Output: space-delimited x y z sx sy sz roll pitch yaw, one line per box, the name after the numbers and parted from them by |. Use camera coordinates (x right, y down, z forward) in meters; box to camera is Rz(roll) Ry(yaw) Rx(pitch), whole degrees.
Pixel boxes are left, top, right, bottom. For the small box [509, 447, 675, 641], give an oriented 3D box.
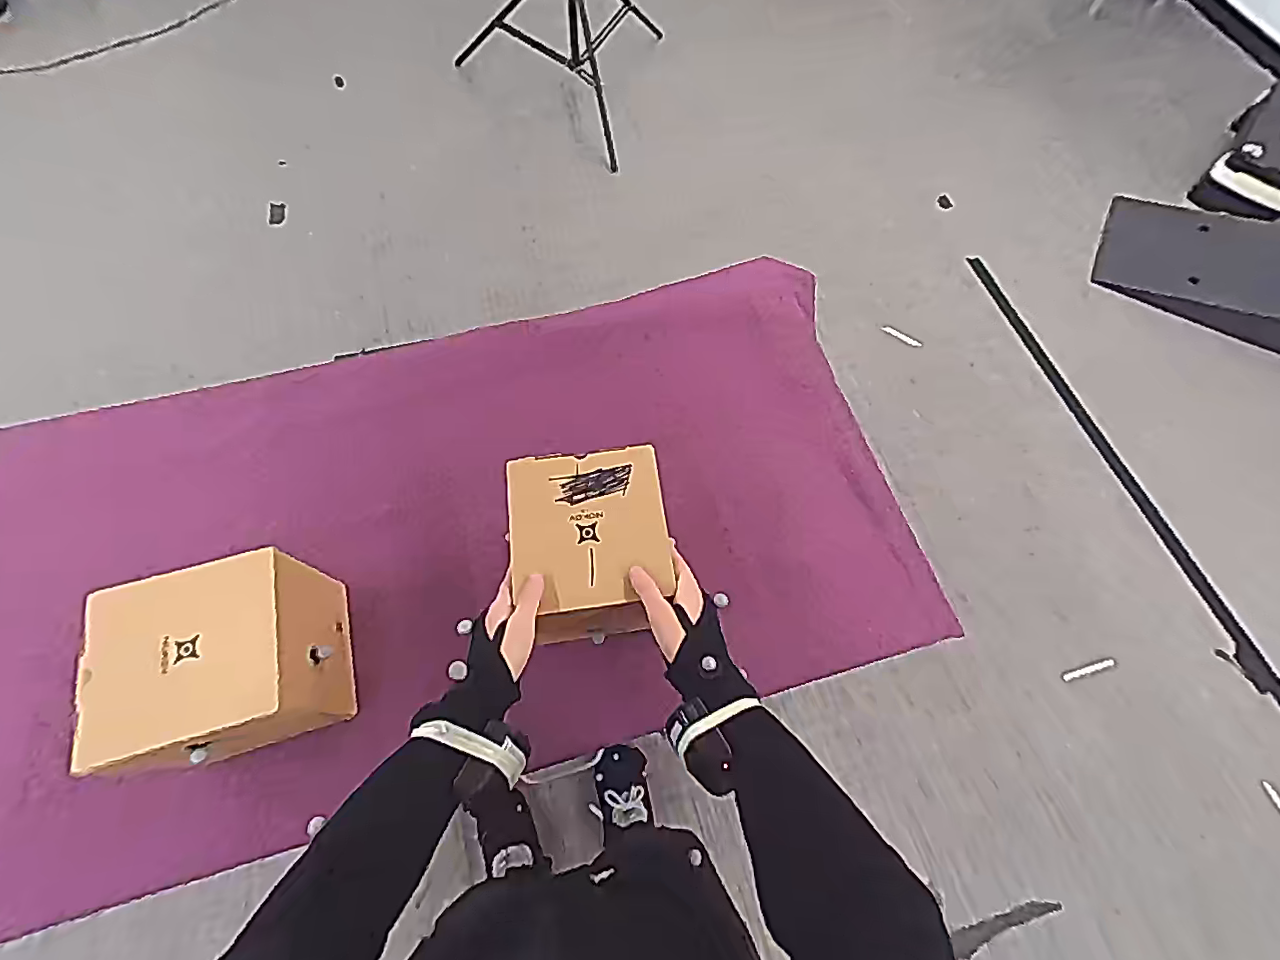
-0.058 0.082 0.642 0.168 0.176 0.179 -6 66 -4 | small box

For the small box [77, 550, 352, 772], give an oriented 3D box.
-0.435 0.194 0.587 0.179 0.176 0.168 -15 68 -8 | small box
